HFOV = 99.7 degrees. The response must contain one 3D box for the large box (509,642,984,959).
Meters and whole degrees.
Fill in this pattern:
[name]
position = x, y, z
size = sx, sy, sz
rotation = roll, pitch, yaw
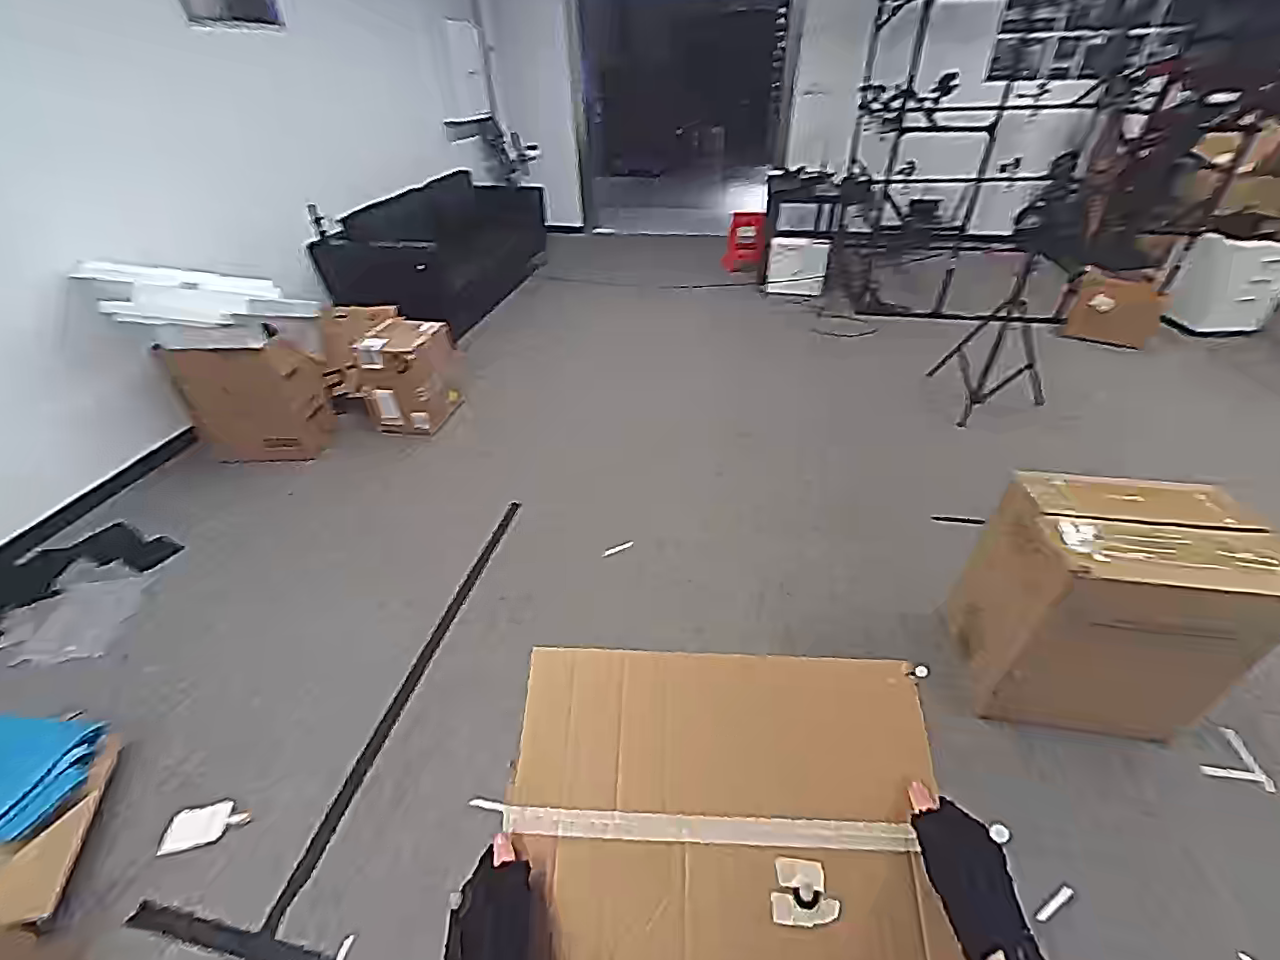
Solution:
[large box]
position = 0.092, 0.383, 0.629
size = 0.408, 0.320, 0.320
rotation = 1, 62, 2
